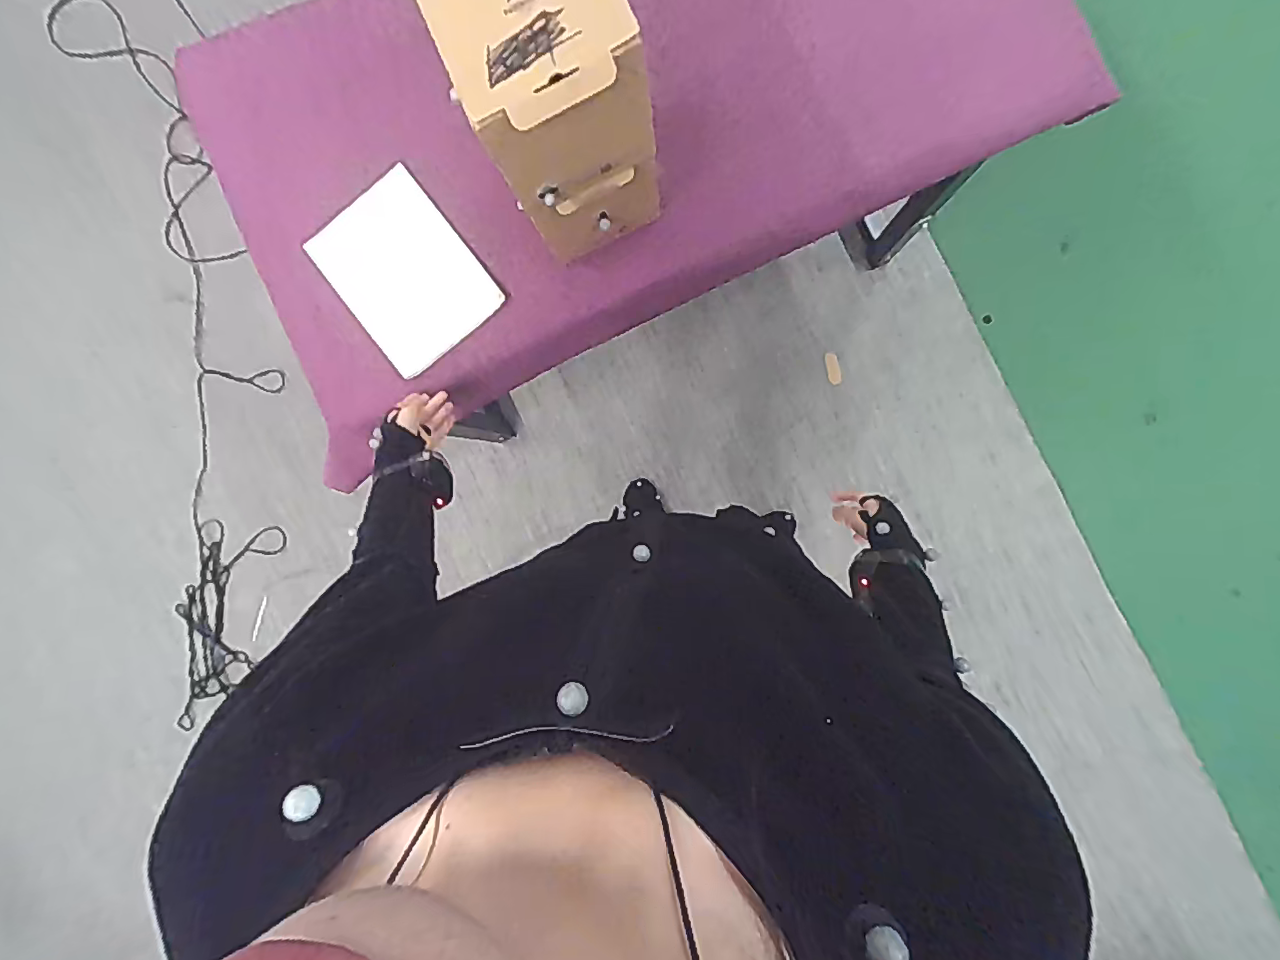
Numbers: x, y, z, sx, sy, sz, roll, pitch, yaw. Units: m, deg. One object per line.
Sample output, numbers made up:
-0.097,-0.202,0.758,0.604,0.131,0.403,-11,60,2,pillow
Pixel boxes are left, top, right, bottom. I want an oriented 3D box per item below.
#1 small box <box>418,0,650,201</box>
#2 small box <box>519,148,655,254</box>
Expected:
-0.098,-0.421,0.553,0.168,0.176,0.179,-24,87,5,small box
-0.086,-0.428,0.718,0.168,0.176,0.179,-24,89,4,small box
